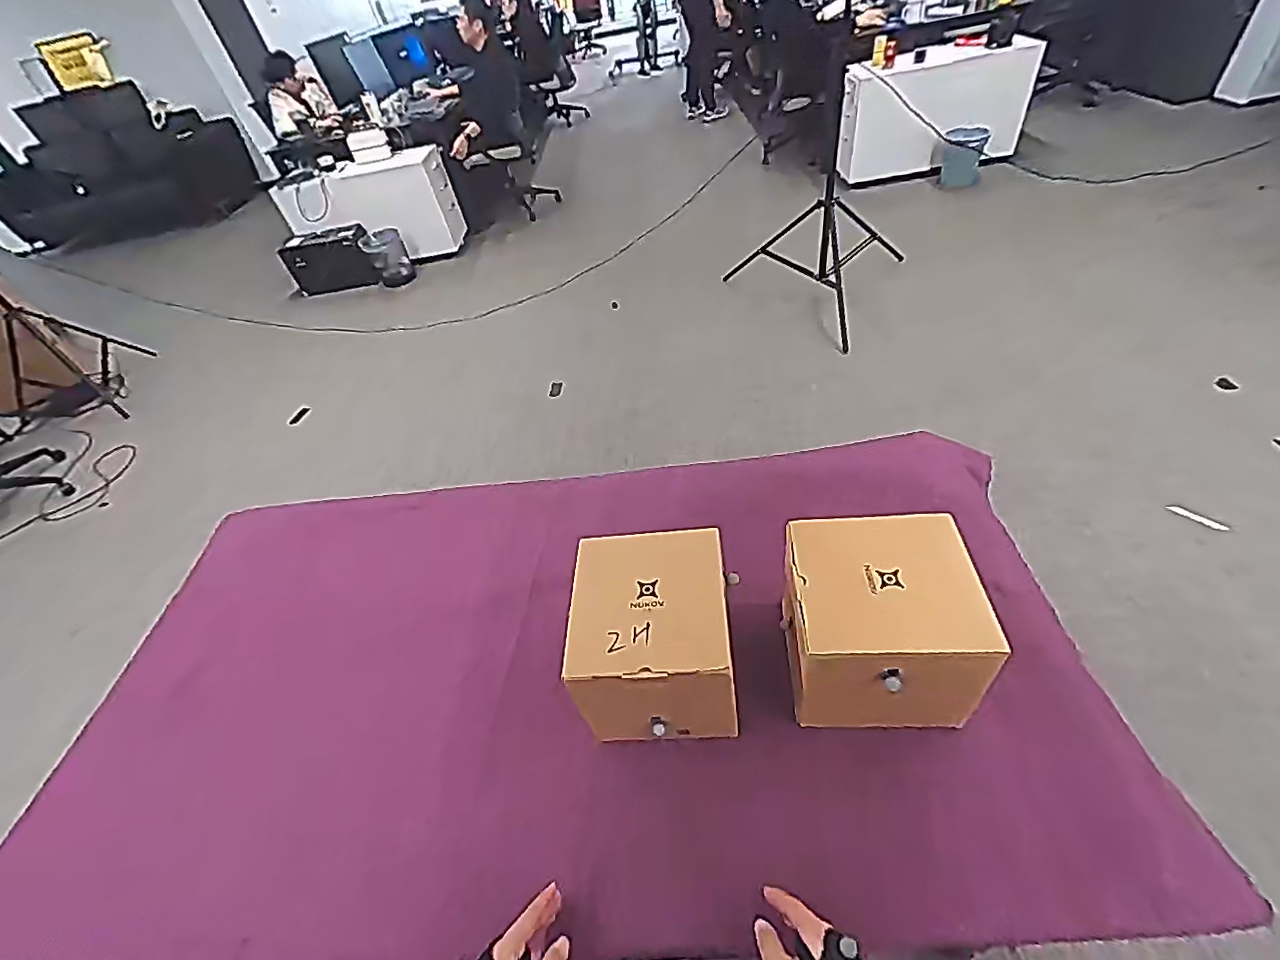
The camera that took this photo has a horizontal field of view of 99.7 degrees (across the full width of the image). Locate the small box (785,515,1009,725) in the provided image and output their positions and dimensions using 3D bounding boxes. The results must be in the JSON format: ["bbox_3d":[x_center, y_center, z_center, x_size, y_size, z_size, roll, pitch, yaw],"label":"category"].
[{"bbox_3d":[0.261,0.157,0.601,0.179,0.176,0.168,-4,44,10],"label":"small box"}]

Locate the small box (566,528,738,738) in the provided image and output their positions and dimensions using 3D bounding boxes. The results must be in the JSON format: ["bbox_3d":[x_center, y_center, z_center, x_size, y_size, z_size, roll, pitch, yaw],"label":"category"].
[{"bbox_3d":[0.023,0.179,0.630,0.168,0.176,0.179,-6,45,8],"label":"small box"}]
